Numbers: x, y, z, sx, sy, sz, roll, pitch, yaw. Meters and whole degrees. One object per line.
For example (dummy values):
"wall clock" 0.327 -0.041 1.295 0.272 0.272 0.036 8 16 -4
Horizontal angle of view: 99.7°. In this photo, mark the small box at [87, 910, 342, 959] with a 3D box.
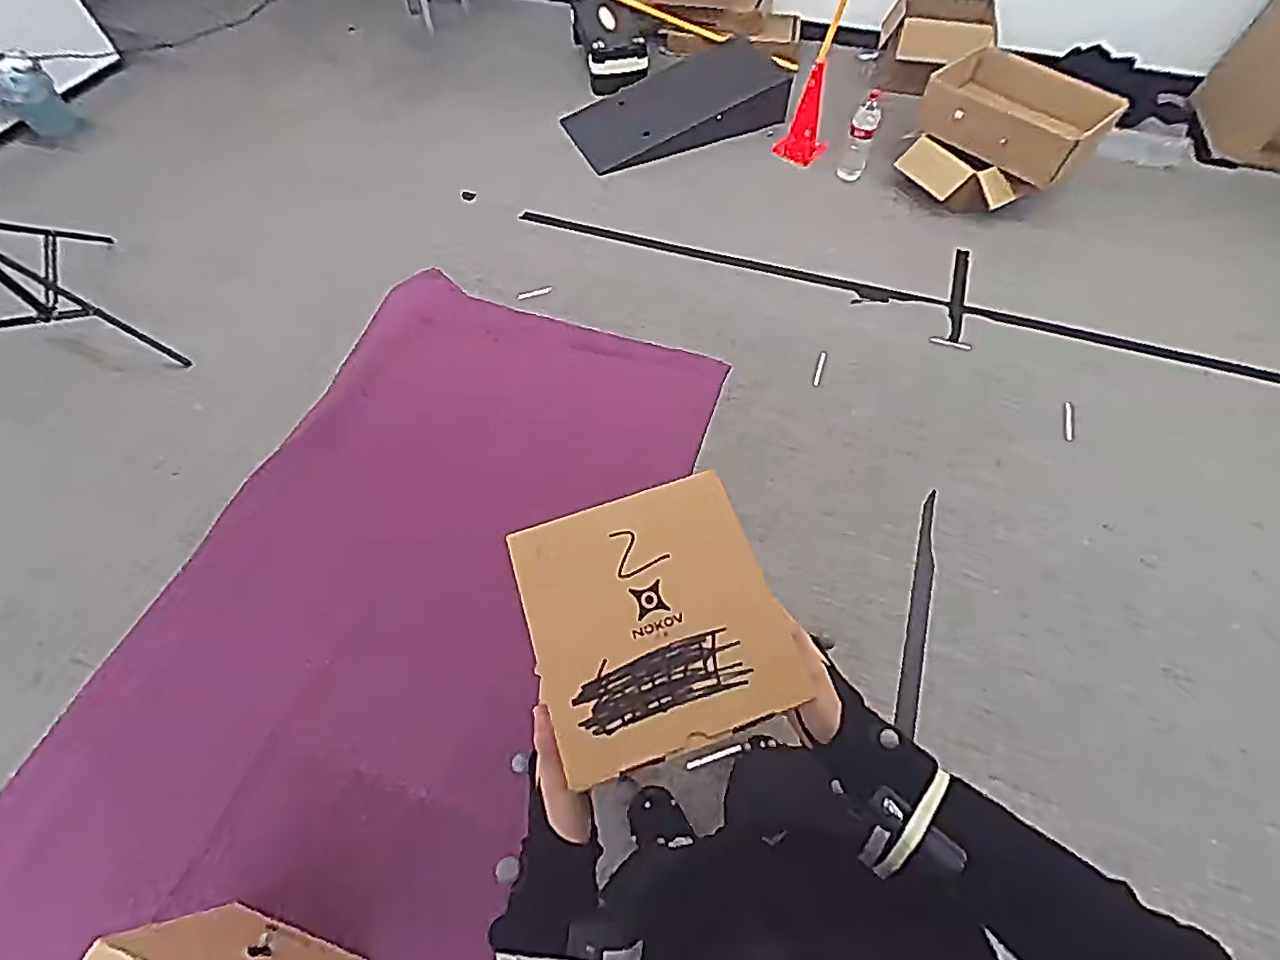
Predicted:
"small box" -0.373 0.493 0.444 0.168 0.176 0.179 14 62 10
